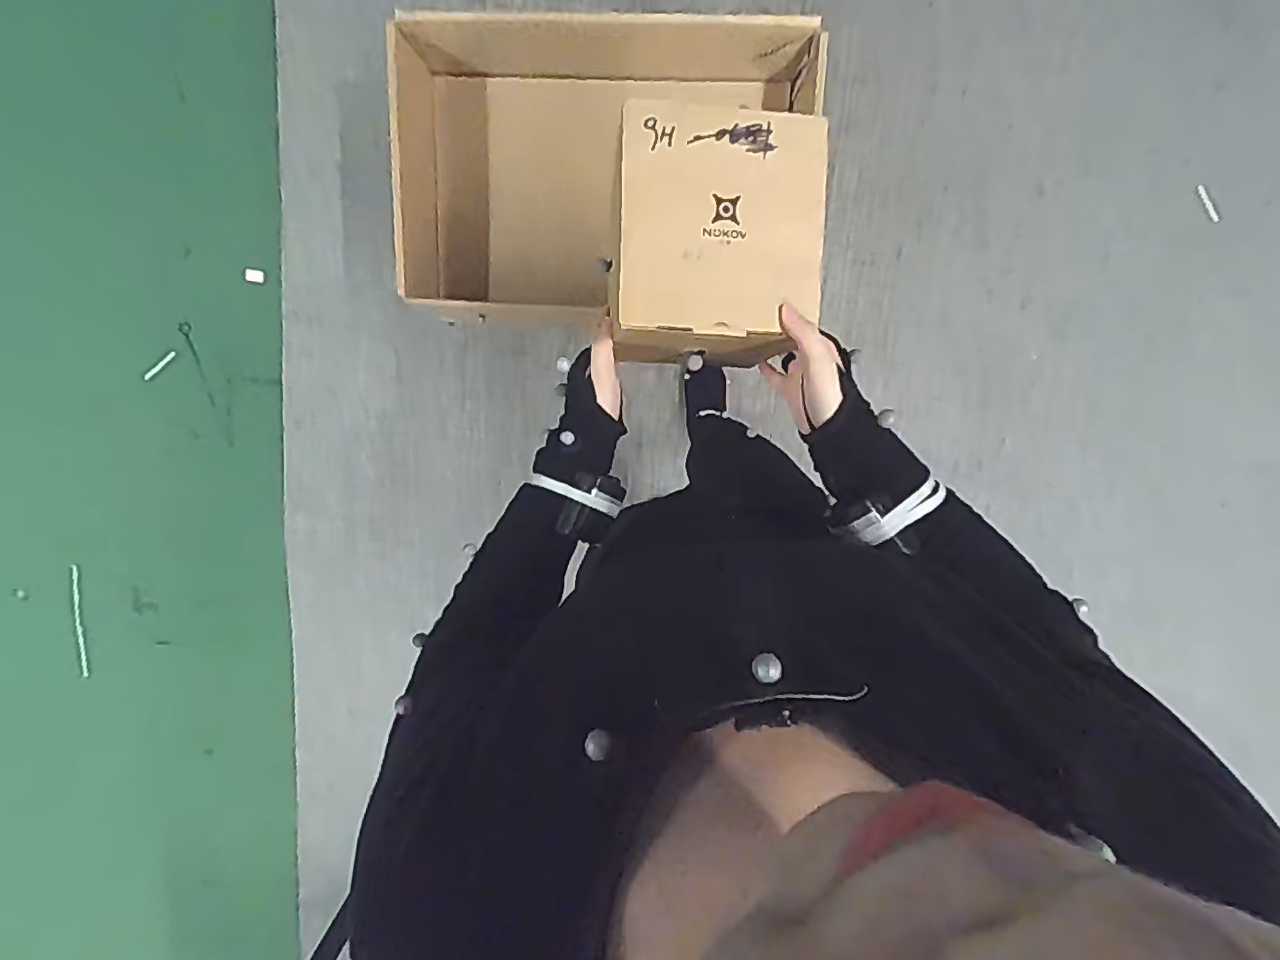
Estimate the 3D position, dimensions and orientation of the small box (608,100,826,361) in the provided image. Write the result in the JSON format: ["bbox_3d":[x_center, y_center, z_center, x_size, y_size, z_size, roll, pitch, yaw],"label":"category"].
[{"bbox_3d":[0.058,-0.213,0.515,0.168,0.176,0.179,2,94,-7],"label":"small box"}]
